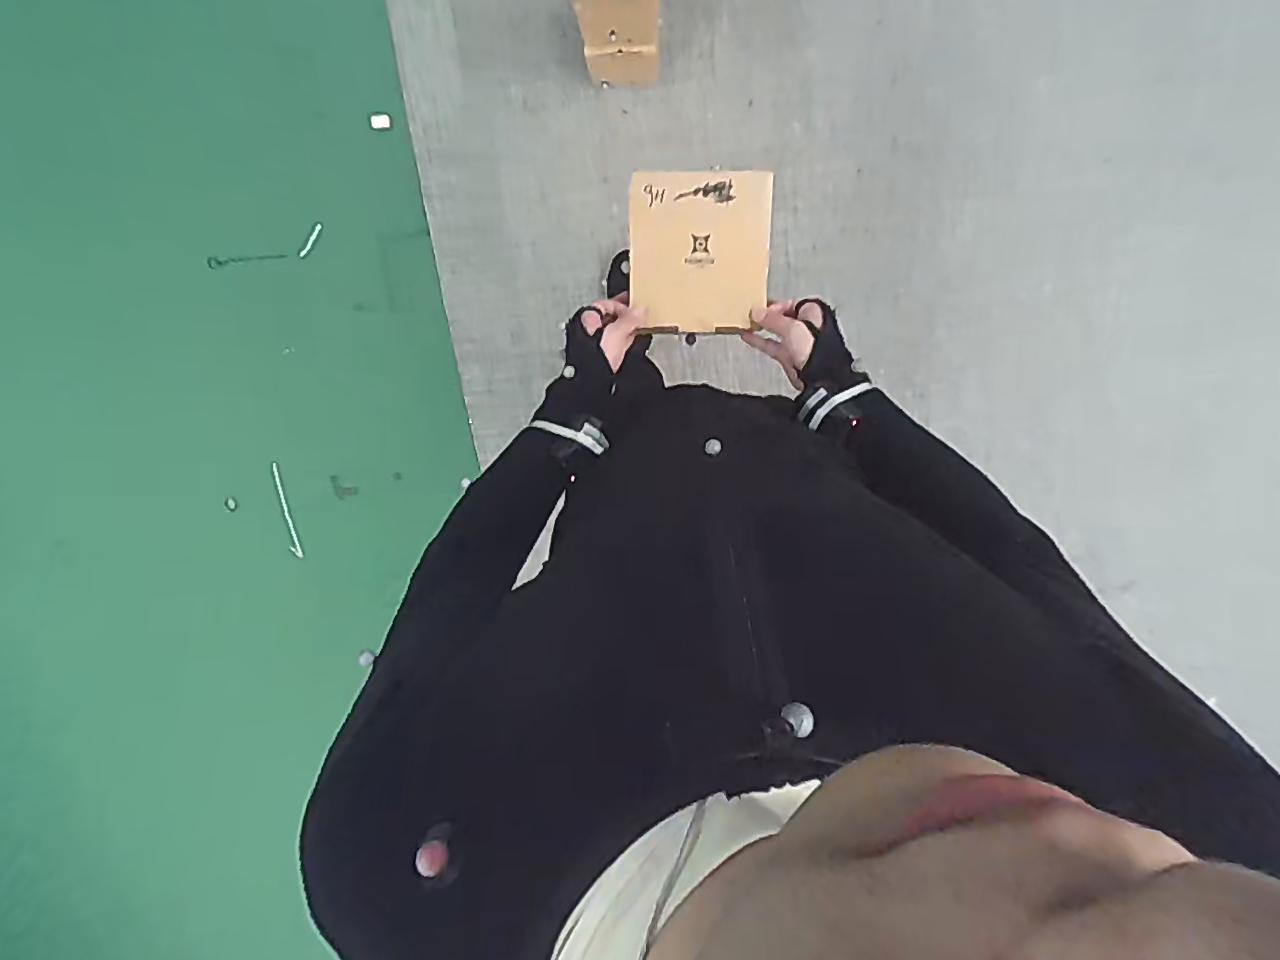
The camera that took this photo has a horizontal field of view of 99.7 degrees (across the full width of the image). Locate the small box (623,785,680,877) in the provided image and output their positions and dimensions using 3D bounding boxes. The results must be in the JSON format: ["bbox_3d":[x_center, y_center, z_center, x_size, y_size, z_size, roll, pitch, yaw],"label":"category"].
[{"bbox_3d":[0.038,1.070,1.652,0.168,0.176,0.179,-3,105,2],"label":"small box"}]

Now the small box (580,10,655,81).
[{"bbox_3d":[-0.049,-1.059,1.257,0.168,0.176,0.179,-1,105,2],"label":"small box"}]

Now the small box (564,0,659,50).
[{"bbox_3d":[-0.057,-1.037,1.104,0.179,0.176,0.168,30,106,-6],"label":"small box"}]

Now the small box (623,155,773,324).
[{"bbox_3d":[0.067,-0.297,0.703,0.168,0.176,0.179,2,104,1],"label":"small box"}]
